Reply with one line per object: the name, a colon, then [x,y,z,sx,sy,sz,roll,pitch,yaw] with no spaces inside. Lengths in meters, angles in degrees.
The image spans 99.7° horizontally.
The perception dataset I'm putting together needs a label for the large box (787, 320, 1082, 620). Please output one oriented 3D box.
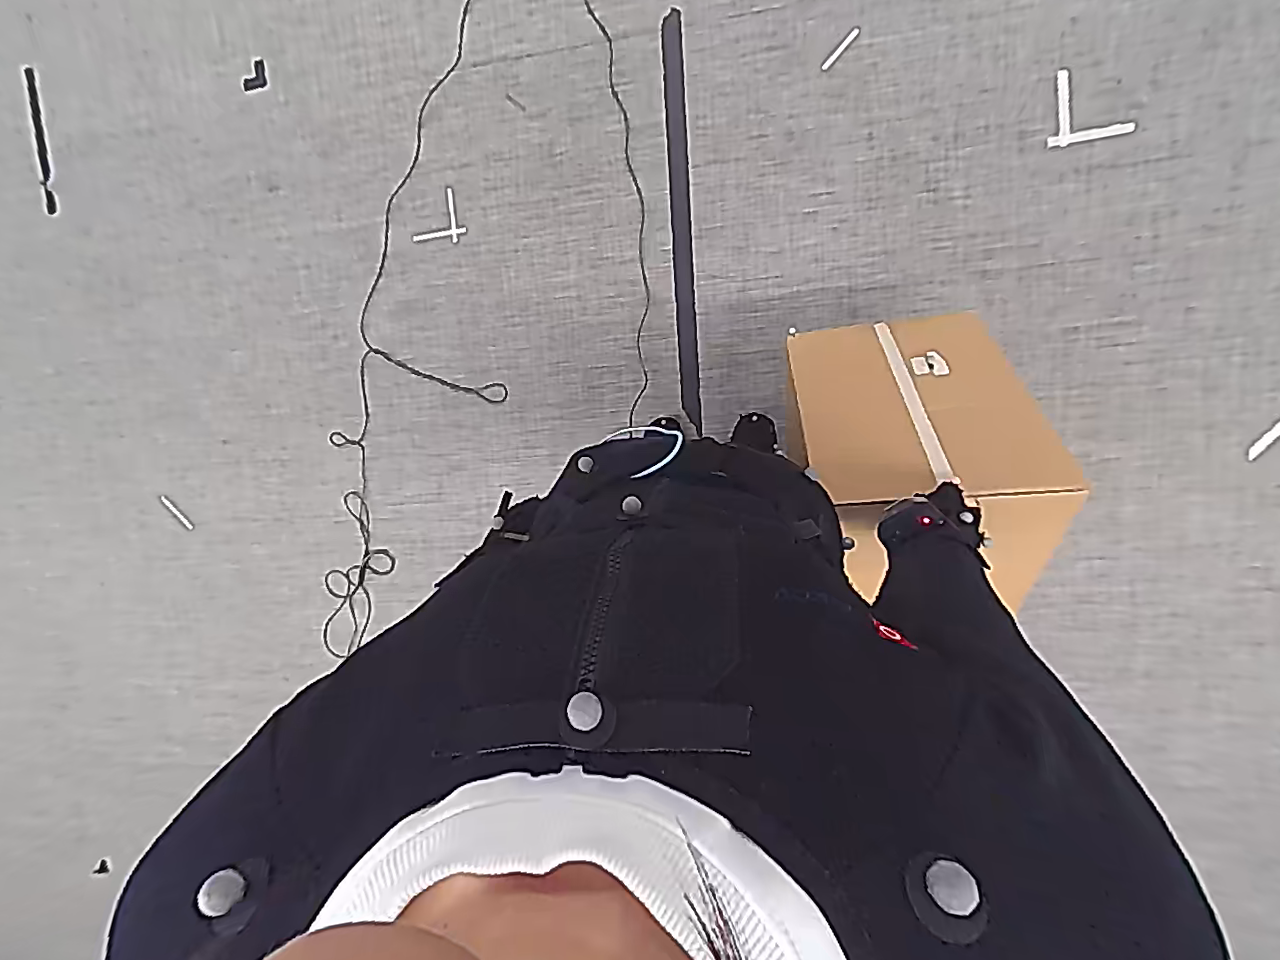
large box: [0.432,-0.018,0.921,0.320,0.408,0.320,-4,135,10]
